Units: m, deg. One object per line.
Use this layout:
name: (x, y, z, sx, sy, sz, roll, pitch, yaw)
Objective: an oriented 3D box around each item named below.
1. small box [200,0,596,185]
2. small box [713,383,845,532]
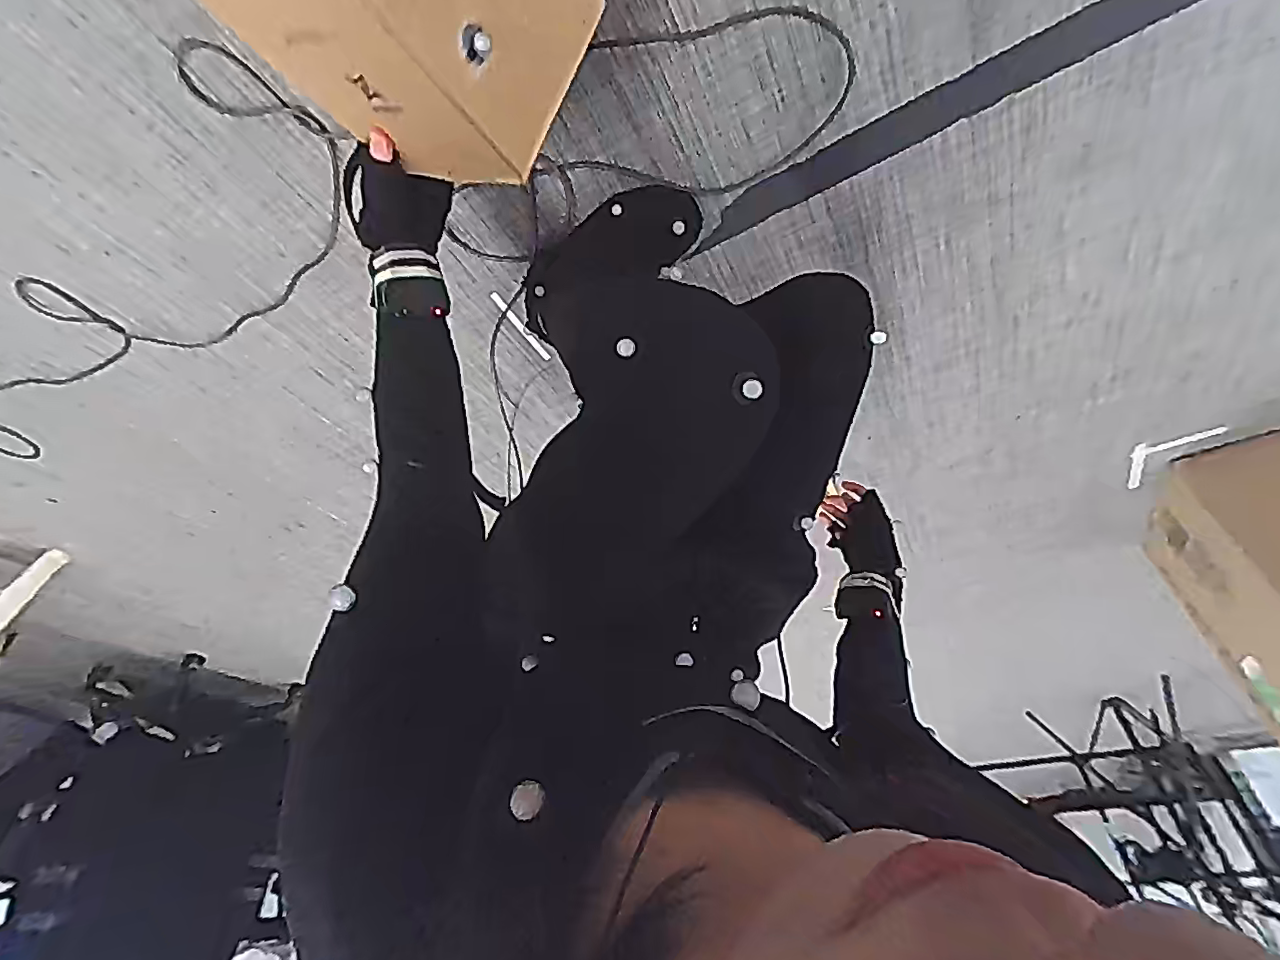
small box: (-0.158, -0.348, 0.381, 0.168, 0.176, 0.179, 24, 179, 30)
small box: (0.238, -0.038, 0.952, 0.179, 0.176, 0.168, -20, 138, 23)
